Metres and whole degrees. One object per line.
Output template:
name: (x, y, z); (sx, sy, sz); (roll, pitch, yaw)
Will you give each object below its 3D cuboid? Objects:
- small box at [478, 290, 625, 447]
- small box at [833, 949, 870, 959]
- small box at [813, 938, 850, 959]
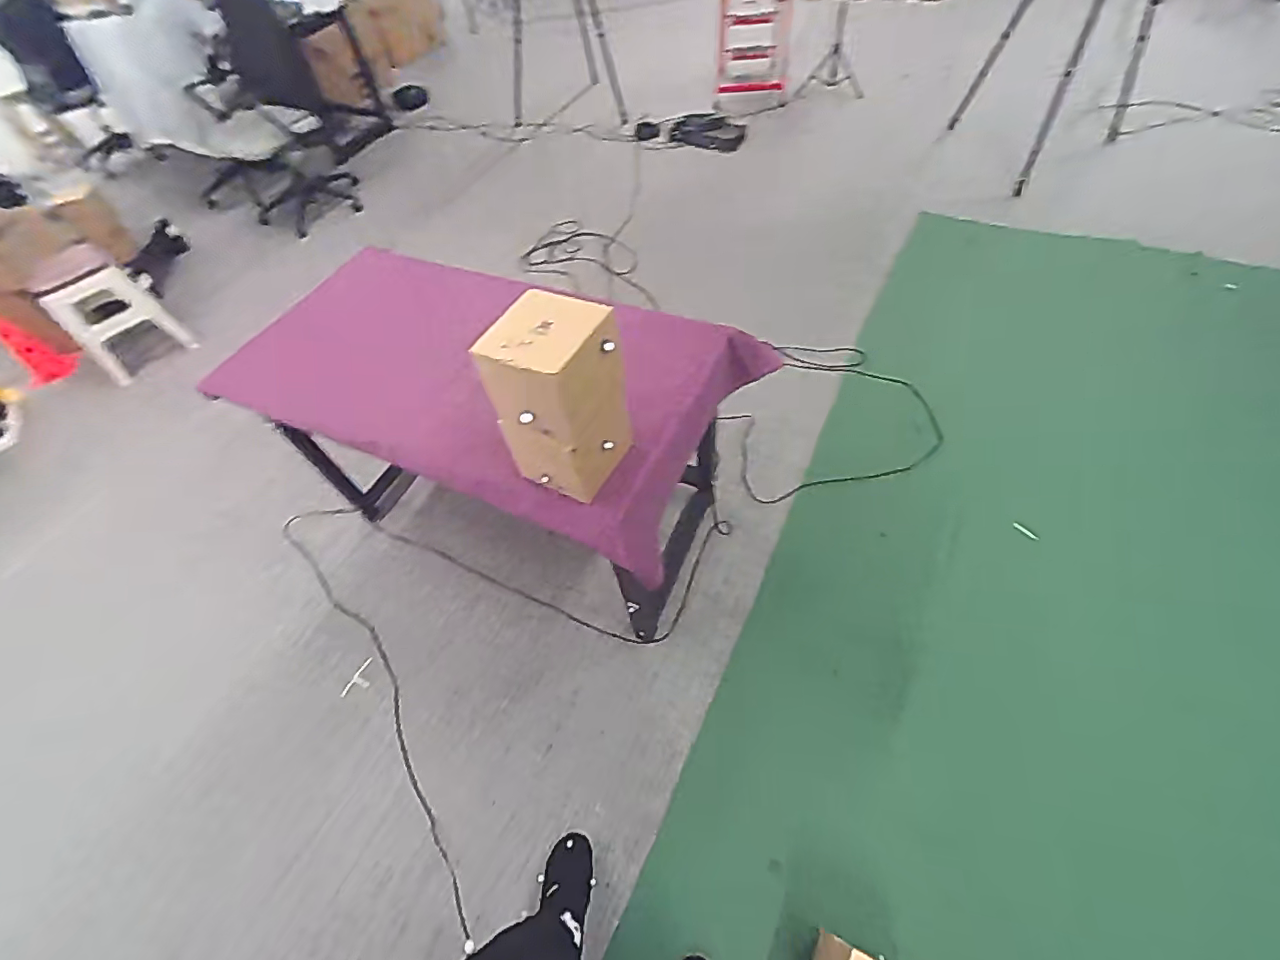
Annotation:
small box: (-0.136, -0.188, 0.918); (0.168, 0.176, 0.179); (20, 59, 22)
small box: (0.414, 0.952, 0.932); (0.179, 0.176, 0.168); (20, 58, 19)
small box: (0.431, 1.045, 1.064); (0.179, 0.176, 0.168); (20, 58, 20)
